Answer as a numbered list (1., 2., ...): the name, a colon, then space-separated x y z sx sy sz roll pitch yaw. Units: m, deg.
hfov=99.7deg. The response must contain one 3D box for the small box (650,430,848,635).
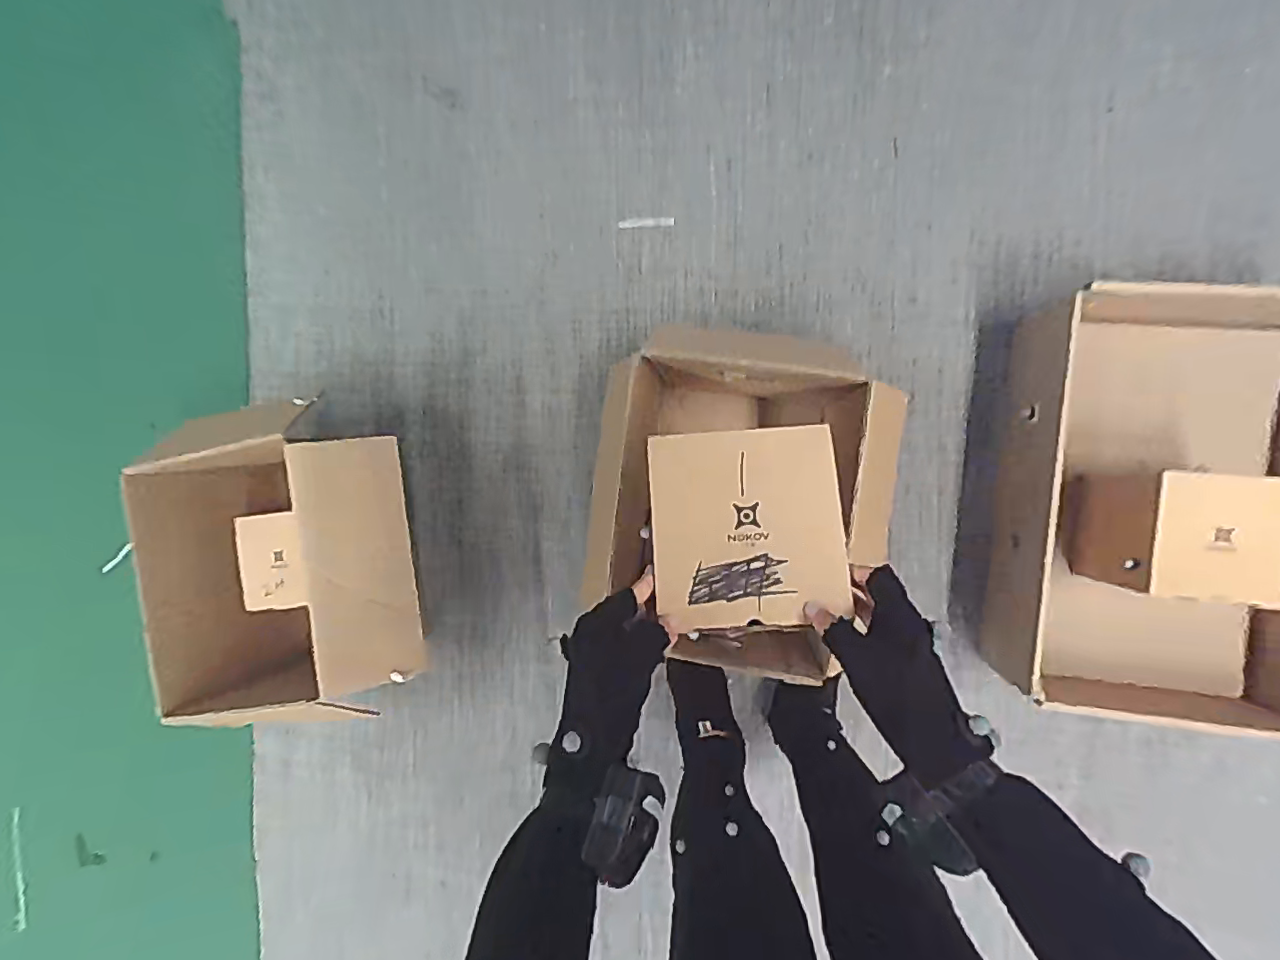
1. small box: 0.100 0.060 0.554 0.168 0.176 0.179 -3 77 5

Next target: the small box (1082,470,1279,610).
1. small box: 0.793 0.079 0.792 0.168 0.176 0.179 4 92 9
